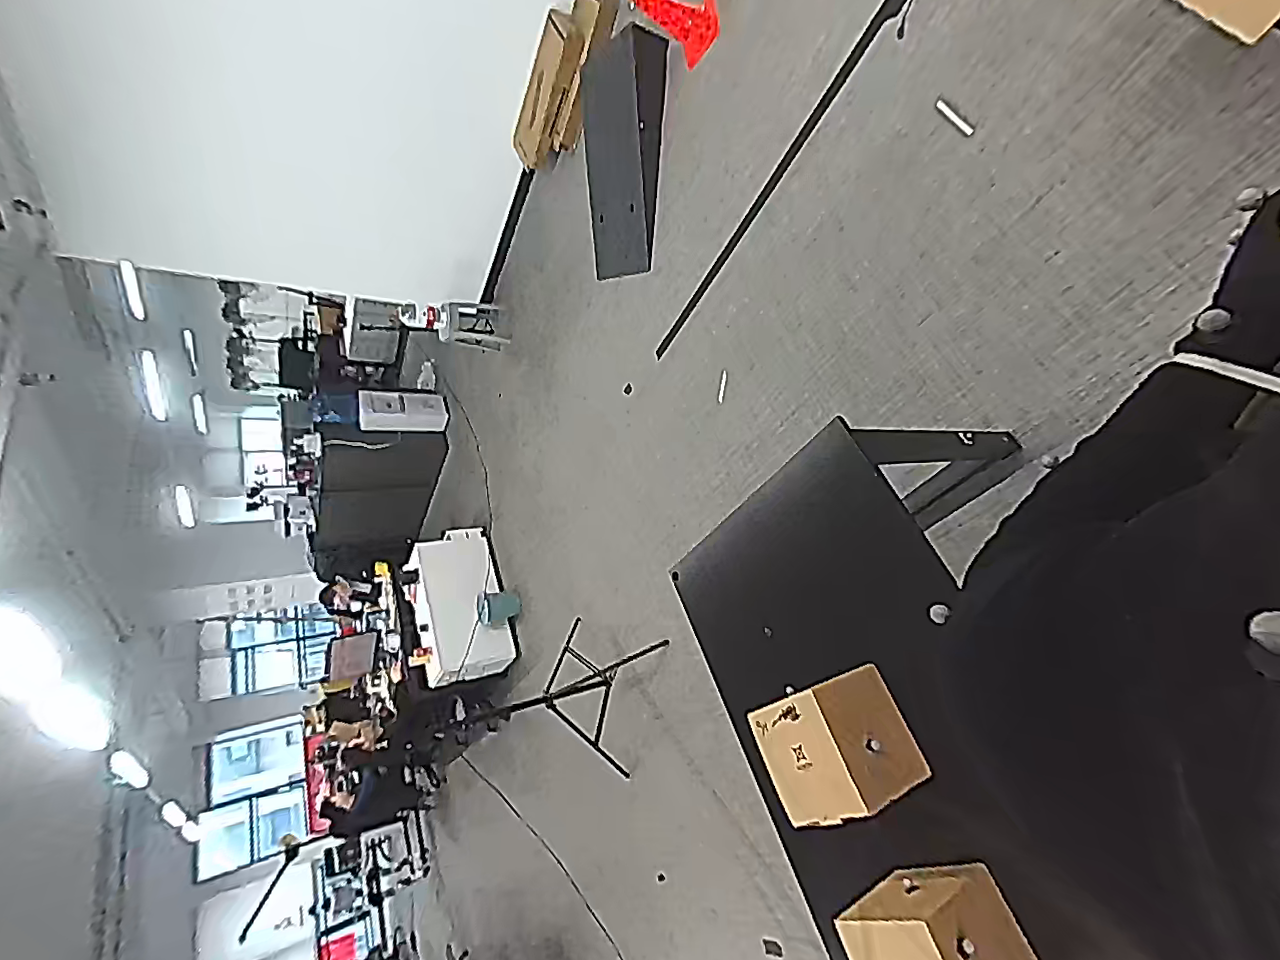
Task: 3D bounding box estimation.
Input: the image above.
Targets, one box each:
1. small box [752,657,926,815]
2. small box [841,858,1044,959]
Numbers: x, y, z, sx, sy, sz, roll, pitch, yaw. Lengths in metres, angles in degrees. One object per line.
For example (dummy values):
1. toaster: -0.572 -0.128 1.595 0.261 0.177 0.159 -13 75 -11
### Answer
1. small box: 0.324 0.415 0.887 0.168 0.176 0.179 -50 54 45
2. small box: 0.428 0.656 0.754 0.168 0.176 0.179 -53 50 45
